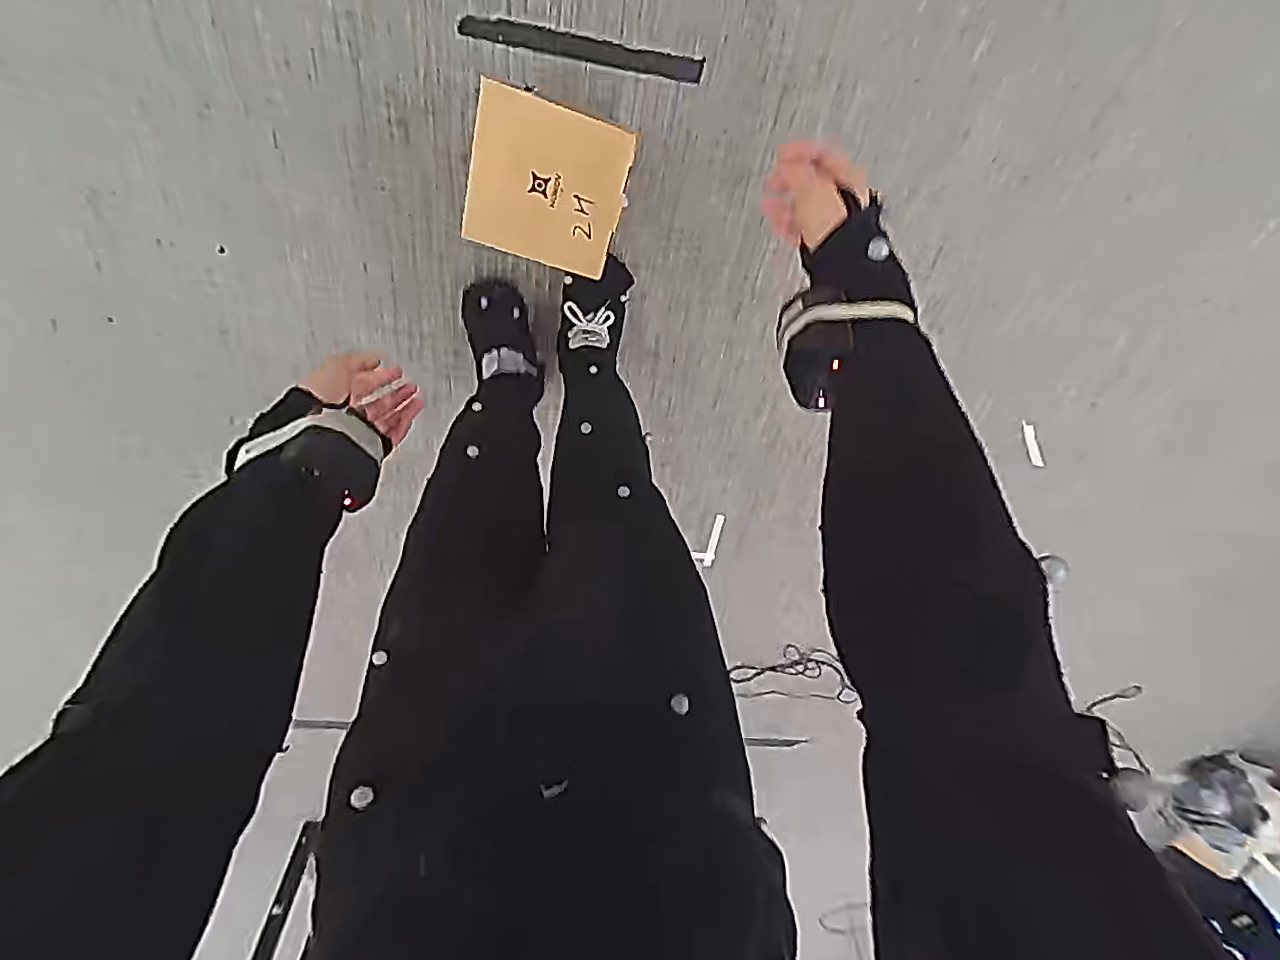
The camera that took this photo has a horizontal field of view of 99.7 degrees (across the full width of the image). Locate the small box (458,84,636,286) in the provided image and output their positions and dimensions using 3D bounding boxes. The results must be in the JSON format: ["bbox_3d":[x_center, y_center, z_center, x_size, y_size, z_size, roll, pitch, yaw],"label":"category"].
[{"bbox_3d":[-0.116,-0.374,0.689,0.179,0.176,0.168,13,124,-13],"label":"small box"}]
